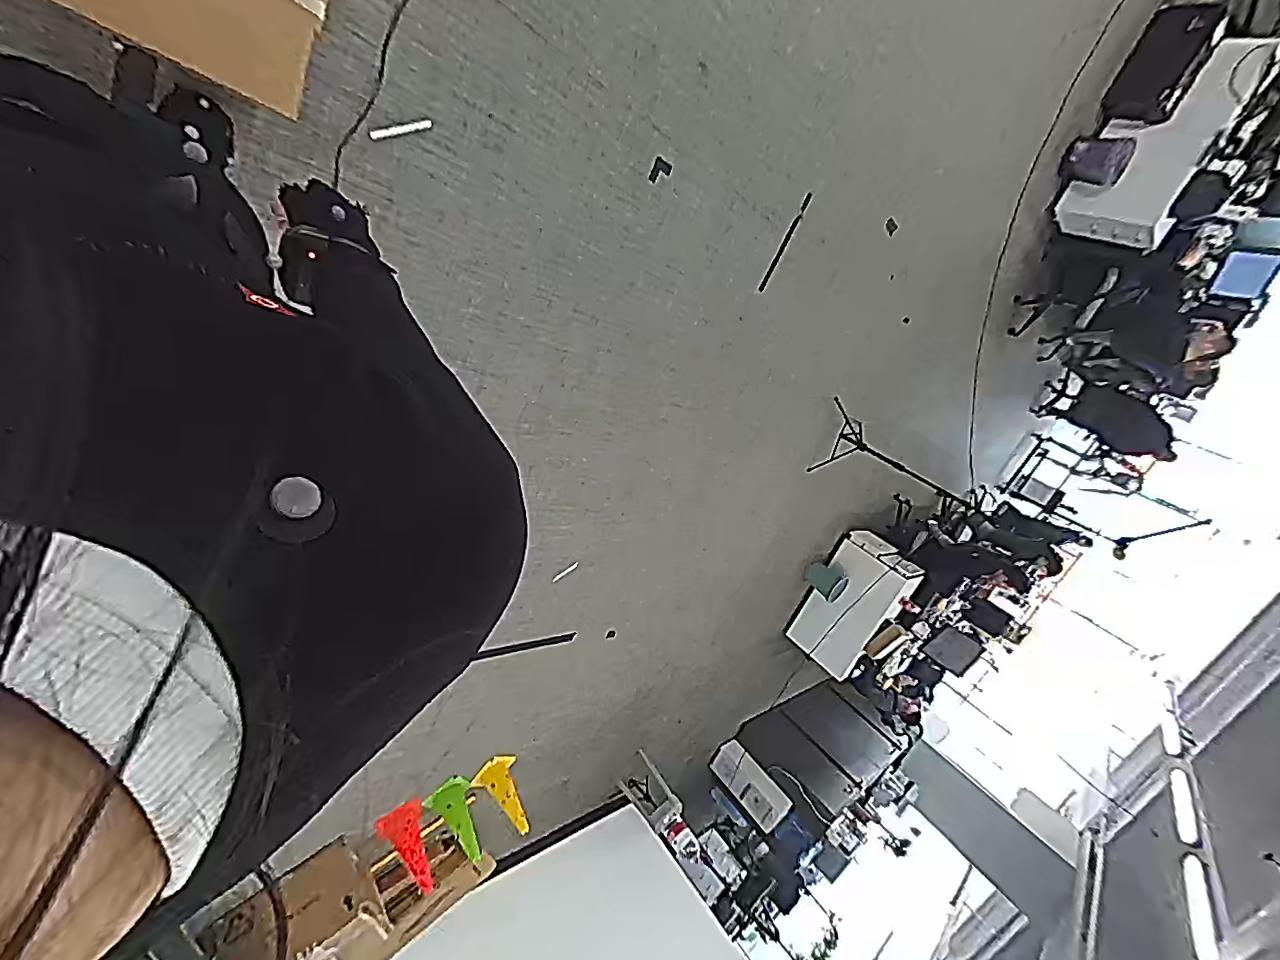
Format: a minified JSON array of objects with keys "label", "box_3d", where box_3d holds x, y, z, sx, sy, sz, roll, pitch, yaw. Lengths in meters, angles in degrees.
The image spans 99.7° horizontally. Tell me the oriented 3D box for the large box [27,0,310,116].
[{"label":"large box","box_3d":[-0.711,-0.778,0.744,0.408,0.320,0.320,7,114,-46]}]
